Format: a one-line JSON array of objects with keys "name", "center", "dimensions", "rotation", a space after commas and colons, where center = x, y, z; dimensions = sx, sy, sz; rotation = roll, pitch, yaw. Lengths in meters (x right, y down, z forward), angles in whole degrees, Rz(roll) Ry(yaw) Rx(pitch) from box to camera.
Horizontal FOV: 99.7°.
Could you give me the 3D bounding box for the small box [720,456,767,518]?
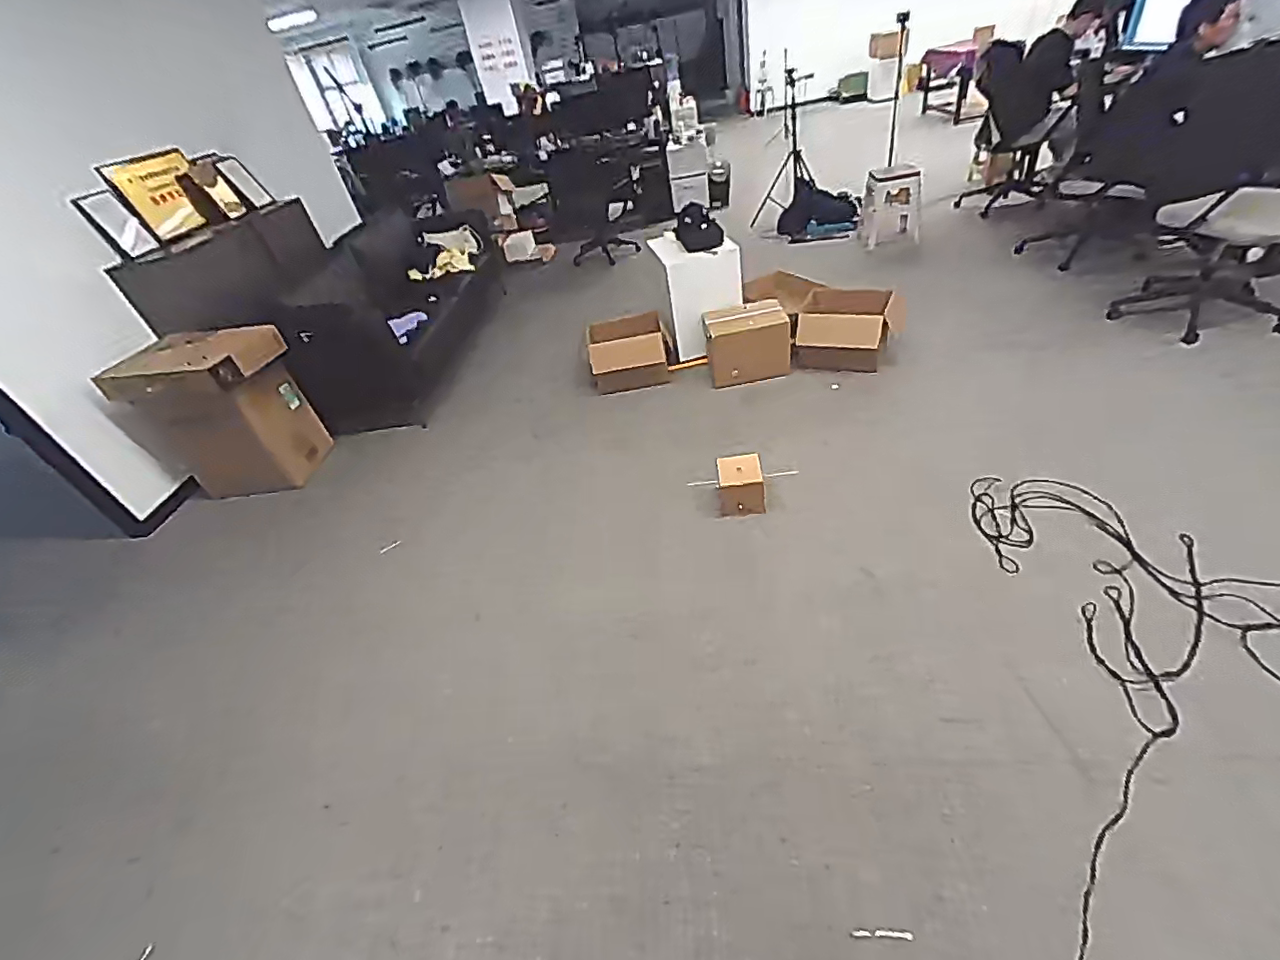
[{"name": "small box", "center": [0.411, 0.029, 2.156], "dimensions": [0.168, 0.176, 0.179], "rotation": [-8, 39, 8]}]
